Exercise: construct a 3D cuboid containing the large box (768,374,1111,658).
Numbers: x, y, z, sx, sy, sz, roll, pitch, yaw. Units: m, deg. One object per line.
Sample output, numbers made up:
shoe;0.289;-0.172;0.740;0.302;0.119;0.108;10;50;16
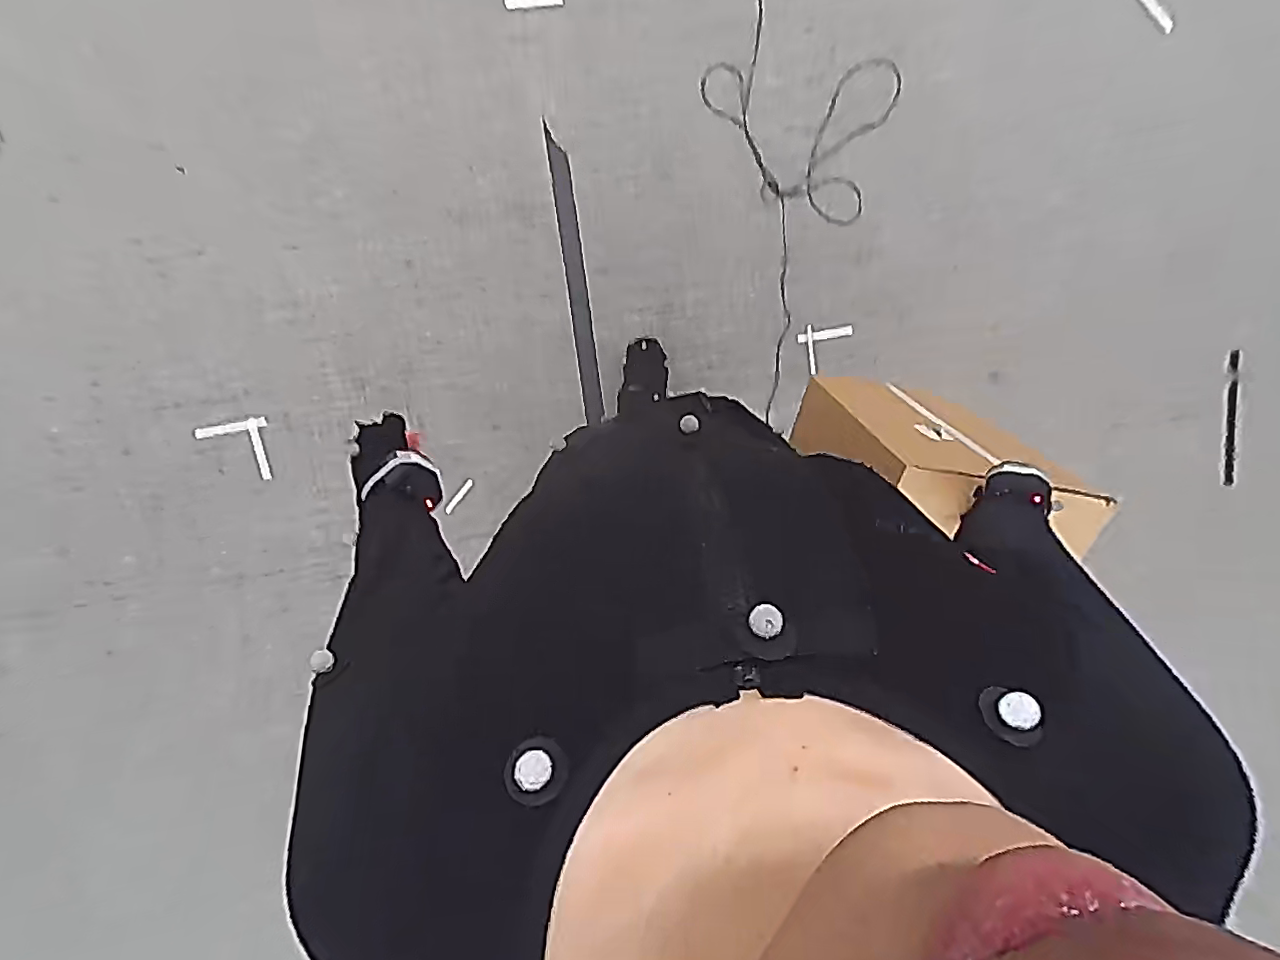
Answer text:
large box;0.462;0.044;0.964;0.320;0.408;0.320;9;118;-7
